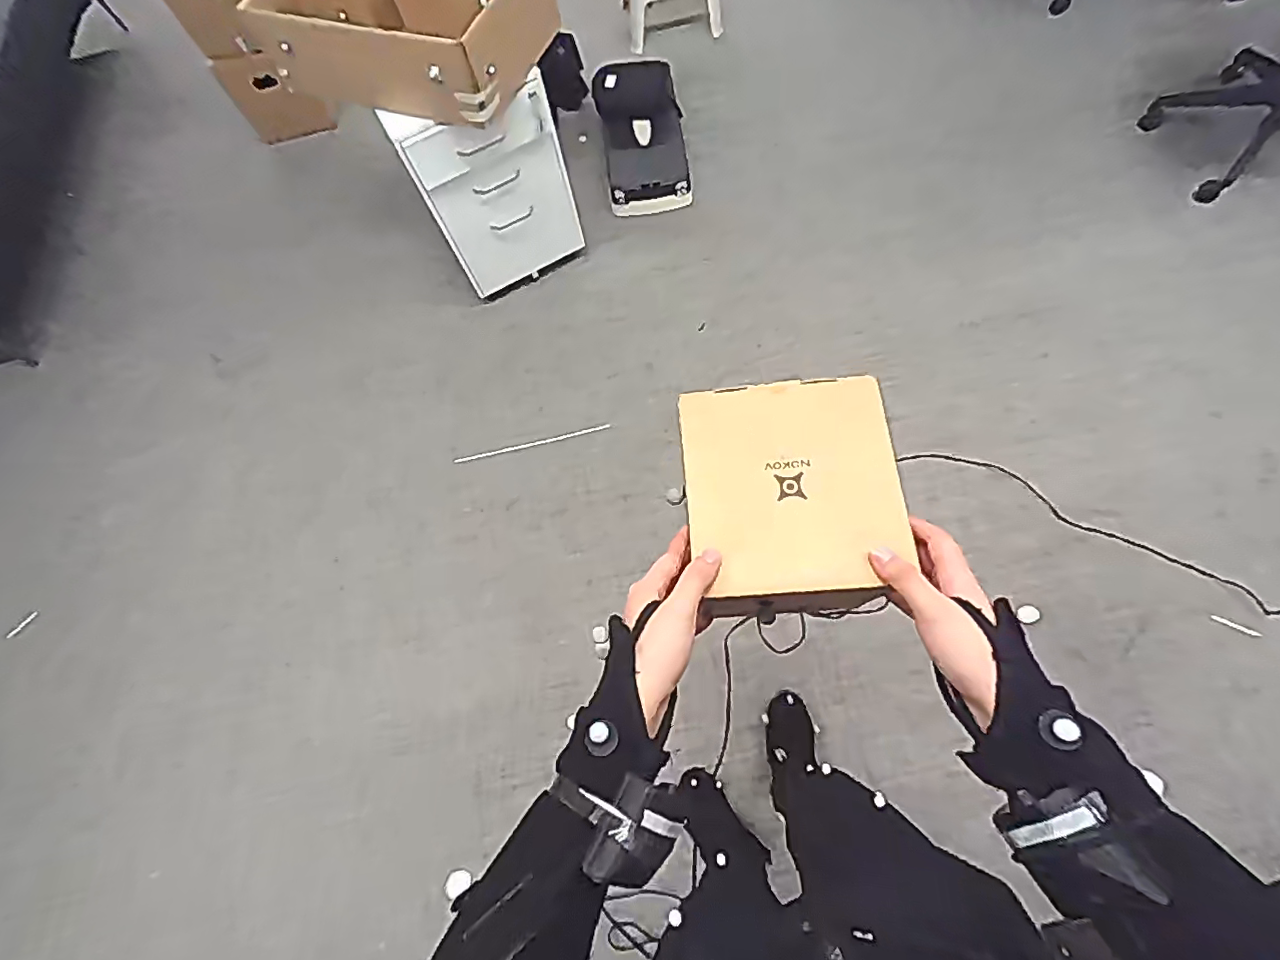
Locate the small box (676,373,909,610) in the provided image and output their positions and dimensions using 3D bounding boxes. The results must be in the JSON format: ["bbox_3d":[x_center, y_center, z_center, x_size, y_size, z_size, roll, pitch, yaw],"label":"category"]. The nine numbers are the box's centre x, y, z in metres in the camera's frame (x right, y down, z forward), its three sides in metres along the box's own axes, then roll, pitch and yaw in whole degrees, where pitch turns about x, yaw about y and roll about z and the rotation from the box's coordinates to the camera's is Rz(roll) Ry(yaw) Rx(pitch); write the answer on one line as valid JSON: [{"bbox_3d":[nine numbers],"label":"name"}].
[{"bbox_3d":[0.127,0.025,0.512,0.168,0.176,0.179,-6,68,5],"label":"small box"}]
